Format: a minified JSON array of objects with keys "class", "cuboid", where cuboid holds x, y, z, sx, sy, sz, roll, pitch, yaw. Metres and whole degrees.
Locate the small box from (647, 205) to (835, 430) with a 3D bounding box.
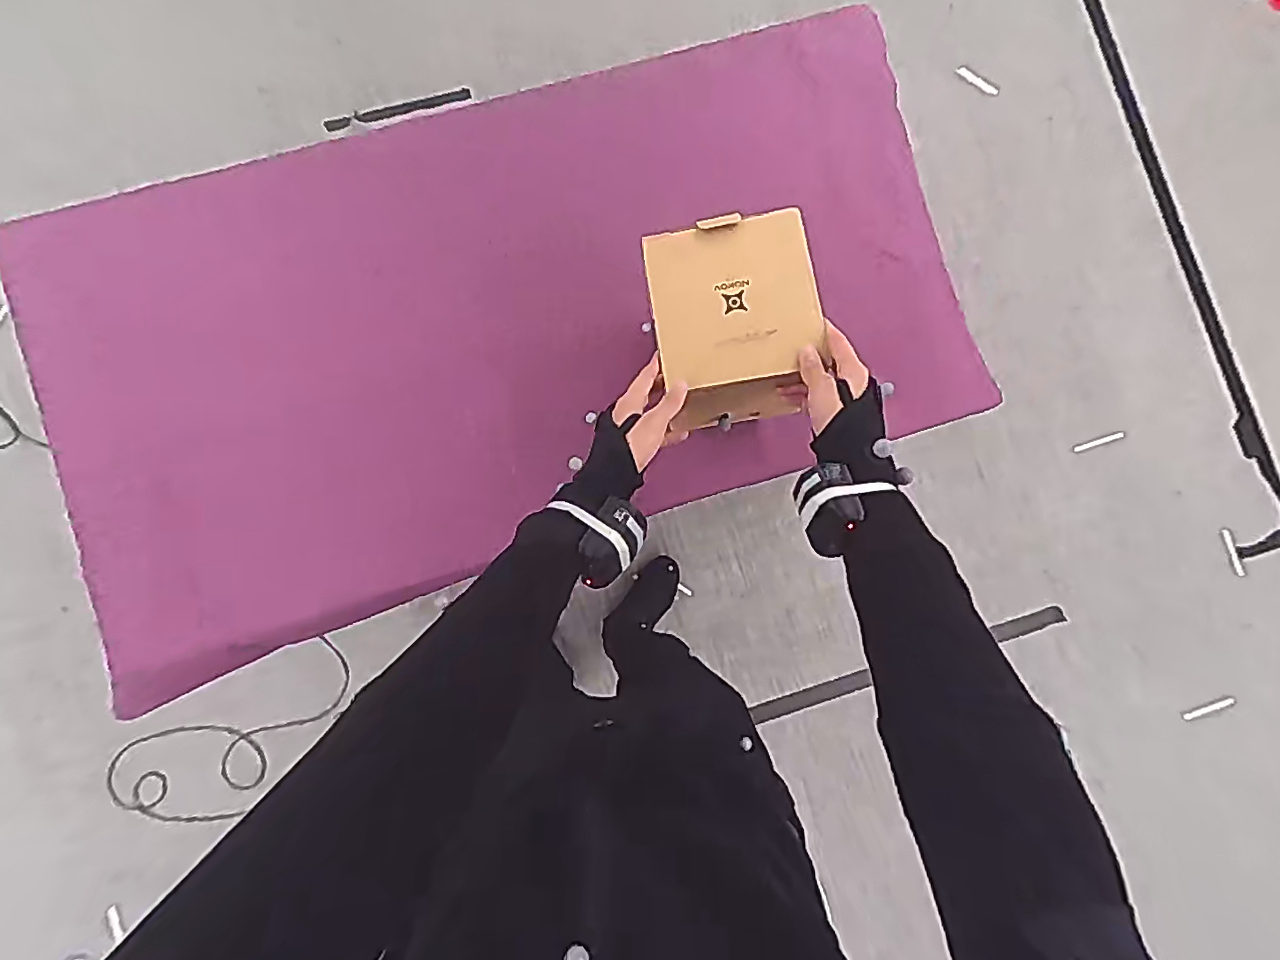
[{"class":"small box","cuboid":[0.103,-0.170,0.614,0.168,0.176,0.179,-9,81,4]}]
